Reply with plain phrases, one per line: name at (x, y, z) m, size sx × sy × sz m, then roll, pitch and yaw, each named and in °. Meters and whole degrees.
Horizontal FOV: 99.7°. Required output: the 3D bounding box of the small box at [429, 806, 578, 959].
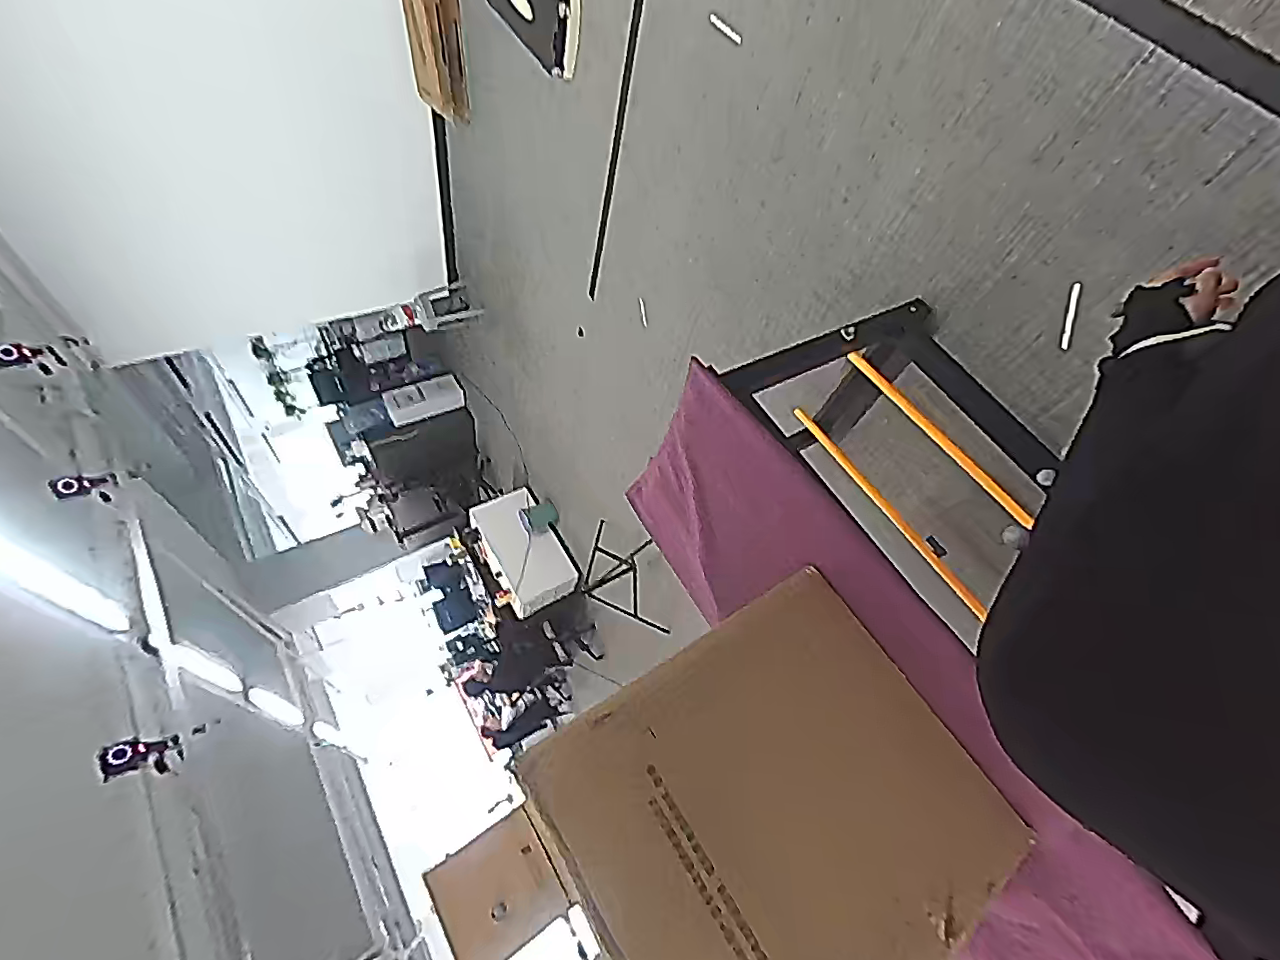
small box at (-0.214, 0.656, 0.871) m, size 0.168 × 0.176 × 0.179 m, roll 53°, pitch 152°, yaw 23°
